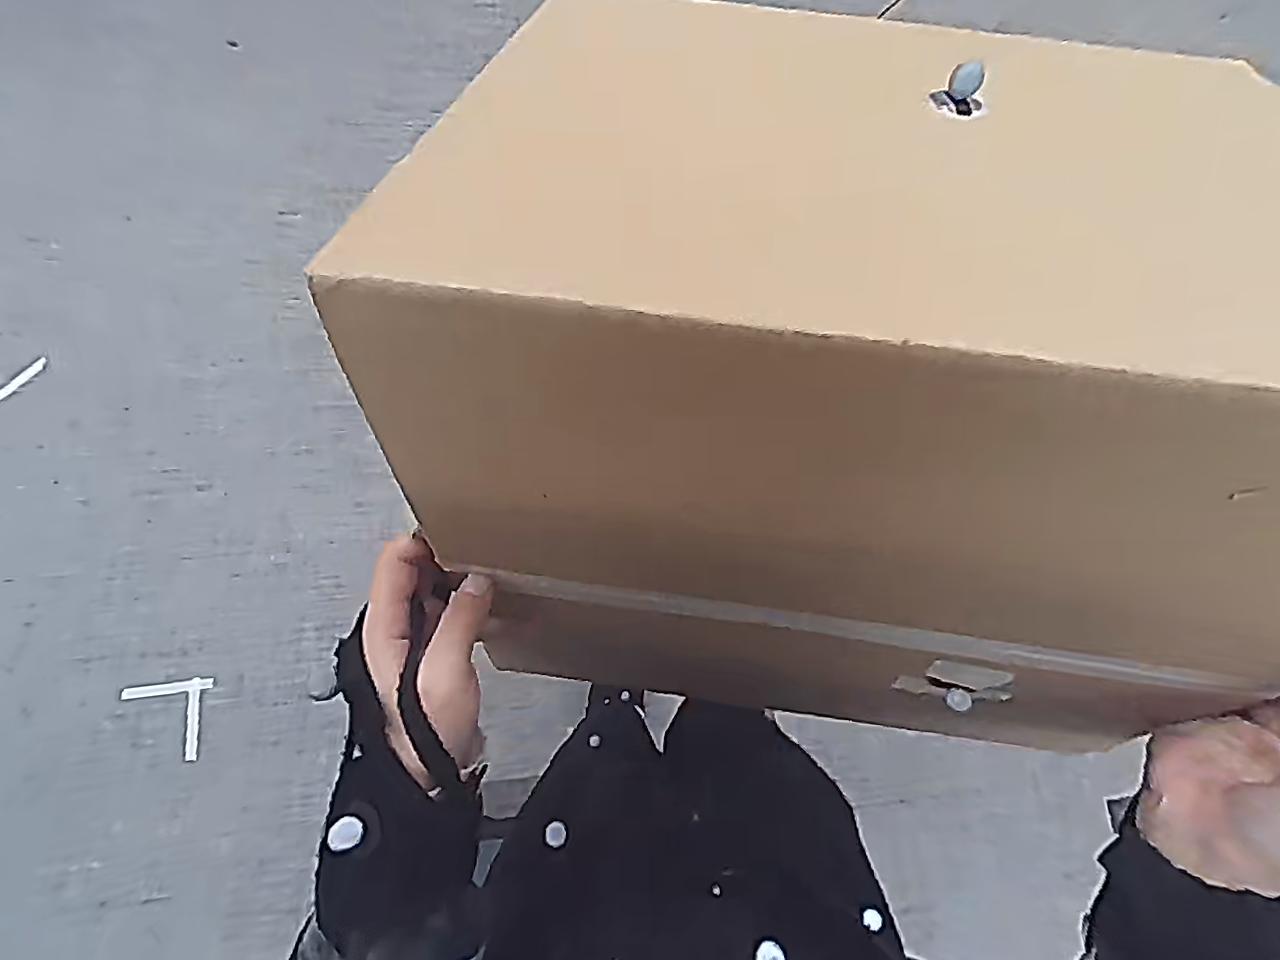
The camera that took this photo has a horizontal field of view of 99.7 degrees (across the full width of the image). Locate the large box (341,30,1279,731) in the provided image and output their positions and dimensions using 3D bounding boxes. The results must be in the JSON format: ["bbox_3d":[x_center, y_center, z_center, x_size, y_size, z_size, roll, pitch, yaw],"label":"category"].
[{"bbox_3d":[0.117,-0.054,0.356,0.408,0.320,0.320,6,54,2],"label":"large box"}]
